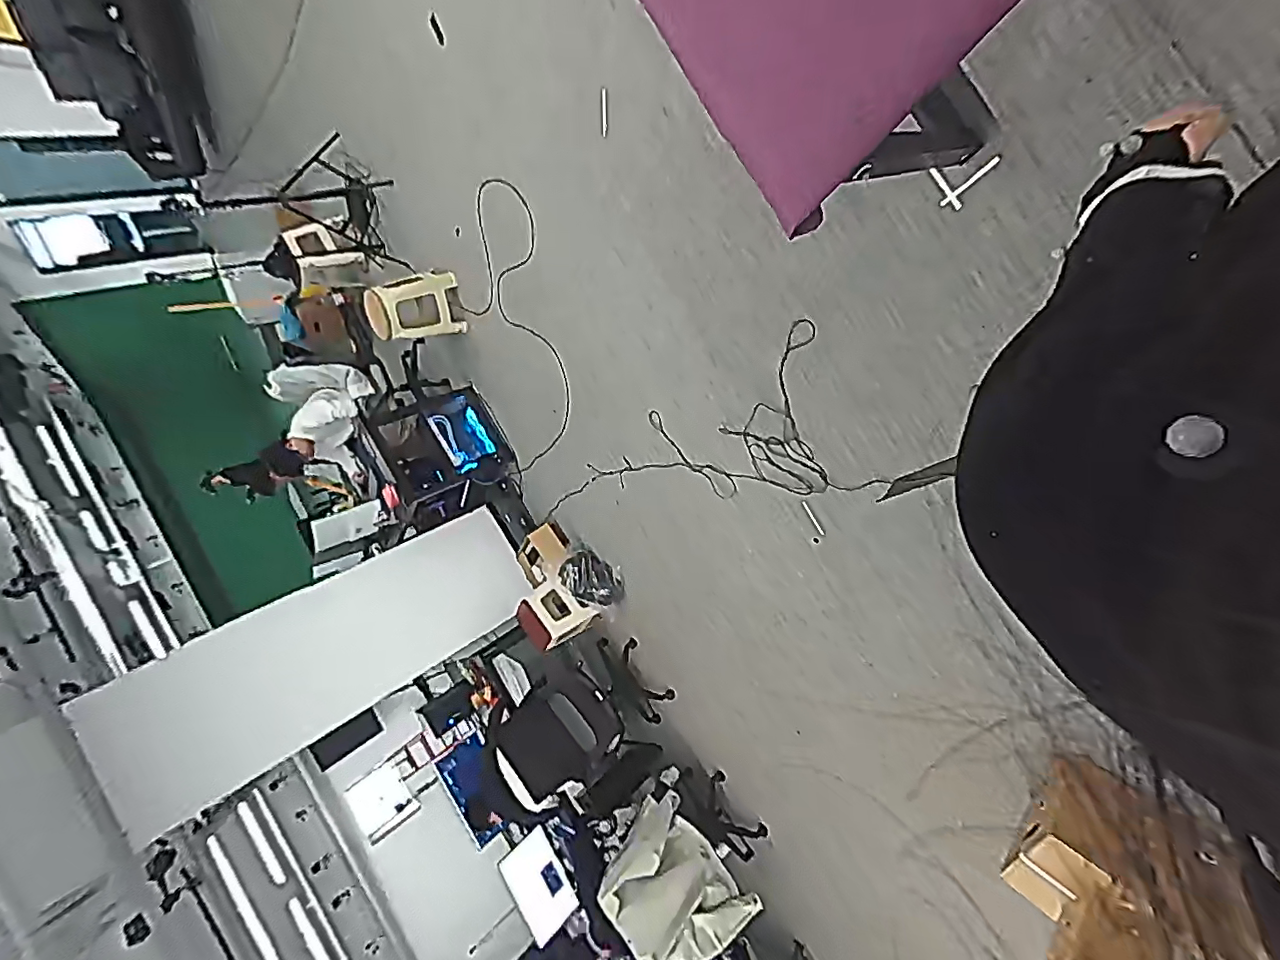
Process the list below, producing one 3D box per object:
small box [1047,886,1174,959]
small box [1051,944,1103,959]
[{"bbox_3d":[1.137,1.142,1.307,0.168,0.176,0.179,32,135,36],"label":"small box"},{"bbox_3d":[1.019,1.209,1.216,0.168,0.176,0.179,32,136,35],"label":"small box"}]
